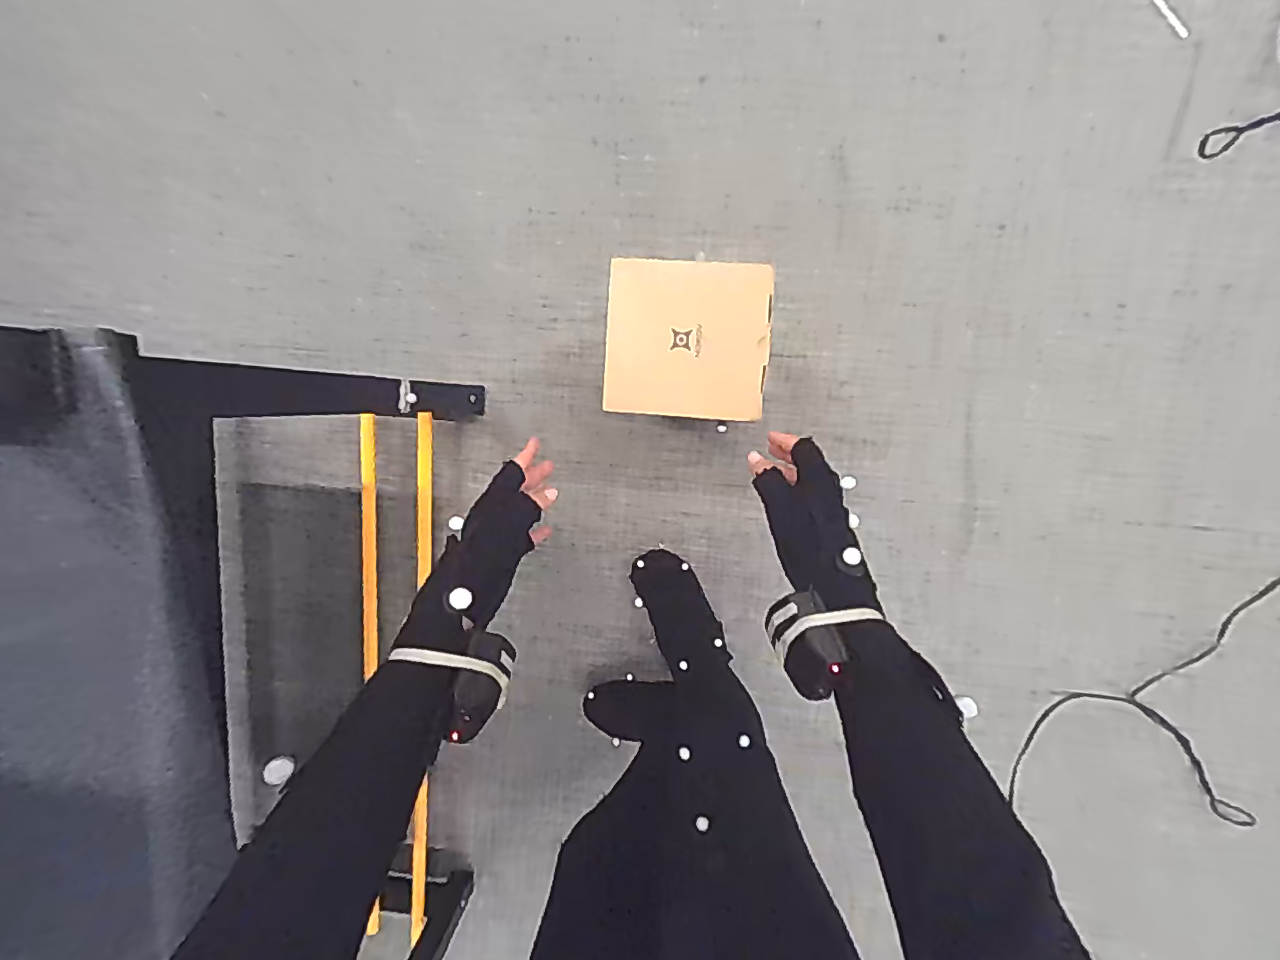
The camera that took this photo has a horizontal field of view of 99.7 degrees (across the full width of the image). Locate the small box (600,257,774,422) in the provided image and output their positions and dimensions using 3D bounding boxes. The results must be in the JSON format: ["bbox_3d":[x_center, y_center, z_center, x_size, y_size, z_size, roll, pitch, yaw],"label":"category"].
[{"bbox_3d":[0.056,-0.160,0.653,0.179,0.176,0.168,5,100,6],"label":"small box"}]
